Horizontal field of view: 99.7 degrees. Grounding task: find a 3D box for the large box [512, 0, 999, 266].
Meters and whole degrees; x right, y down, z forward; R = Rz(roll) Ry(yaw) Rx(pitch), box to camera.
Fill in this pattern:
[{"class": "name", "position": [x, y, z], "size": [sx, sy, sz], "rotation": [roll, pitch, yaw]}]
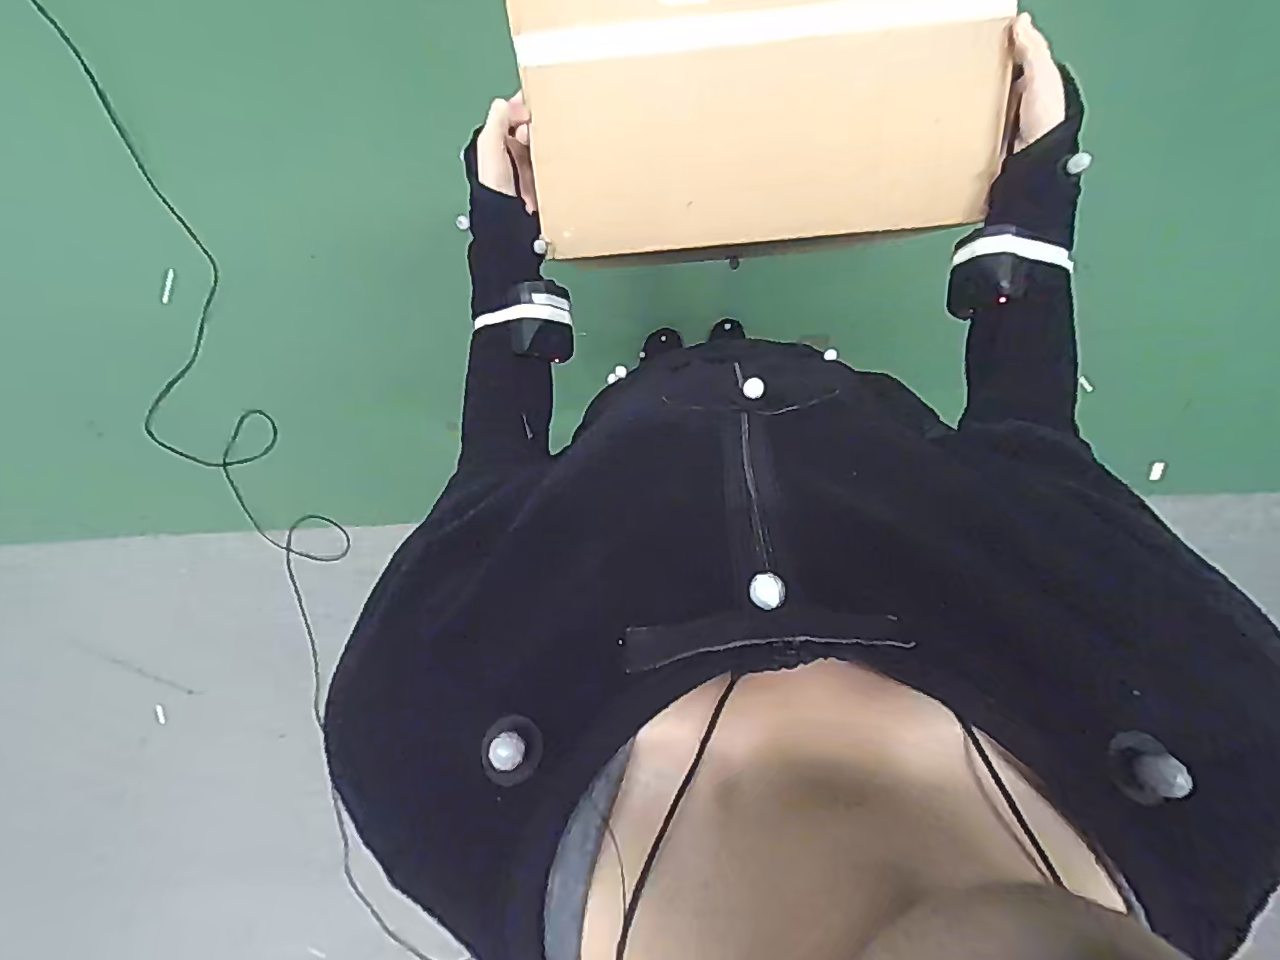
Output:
[{"class": "large box", "position": [0.099, -0.419, 0.589], "size": [0.408, 0.320, 0.320], "rotation": [-4, 109, 2]}]
